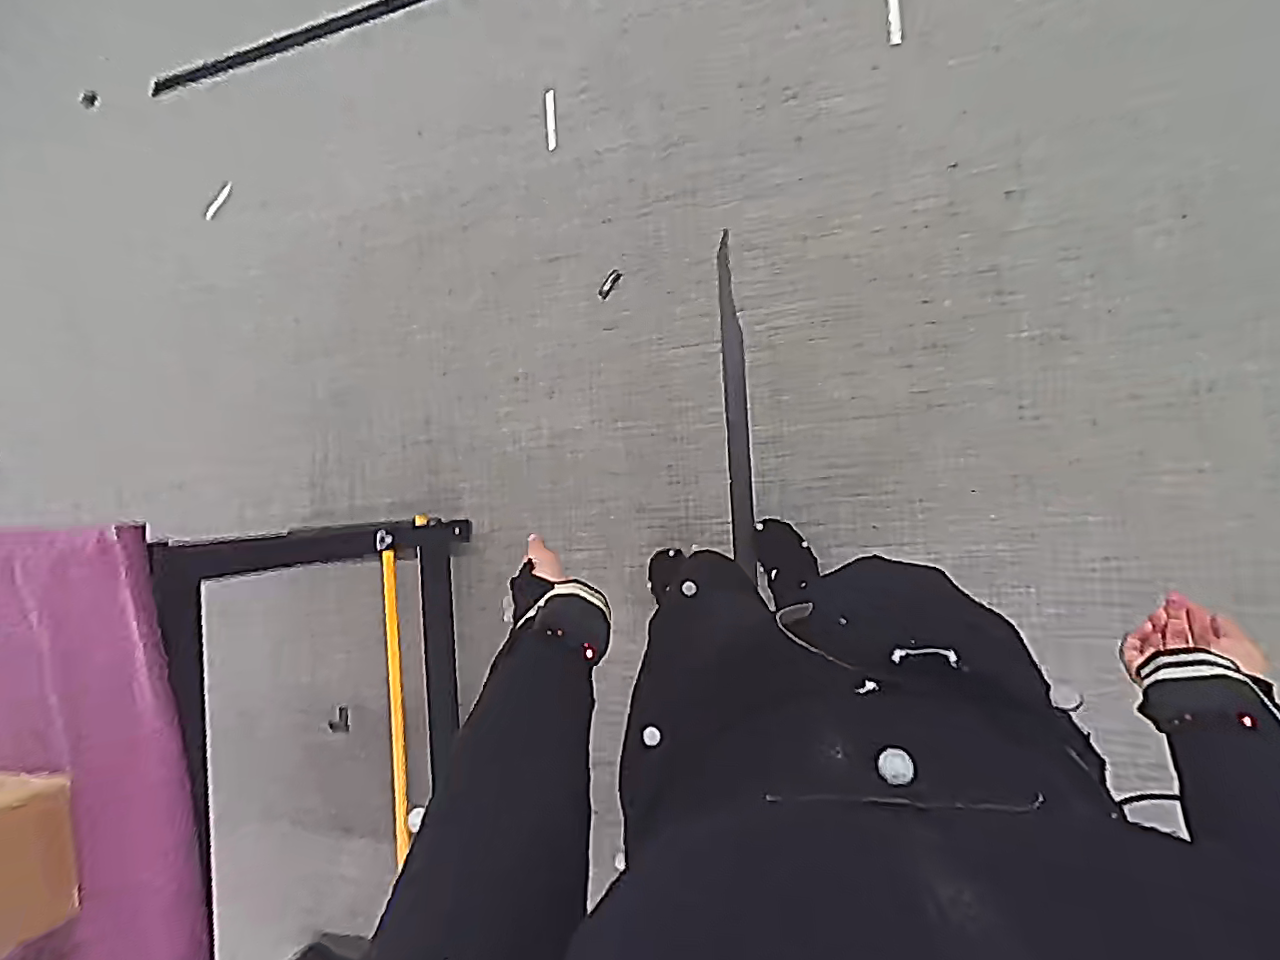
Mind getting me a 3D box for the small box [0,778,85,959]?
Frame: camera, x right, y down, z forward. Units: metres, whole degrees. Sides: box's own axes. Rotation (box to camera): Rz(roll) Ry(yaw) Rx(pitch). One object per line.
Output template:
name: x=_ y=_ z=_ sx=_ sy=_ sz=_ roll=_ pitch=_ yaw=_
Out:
small box: x=-0.839 y=0.492 z=0.662 sx=0.168 sy=0.176 sz=0.179 roll=-7 pitch=87 yaw=15
